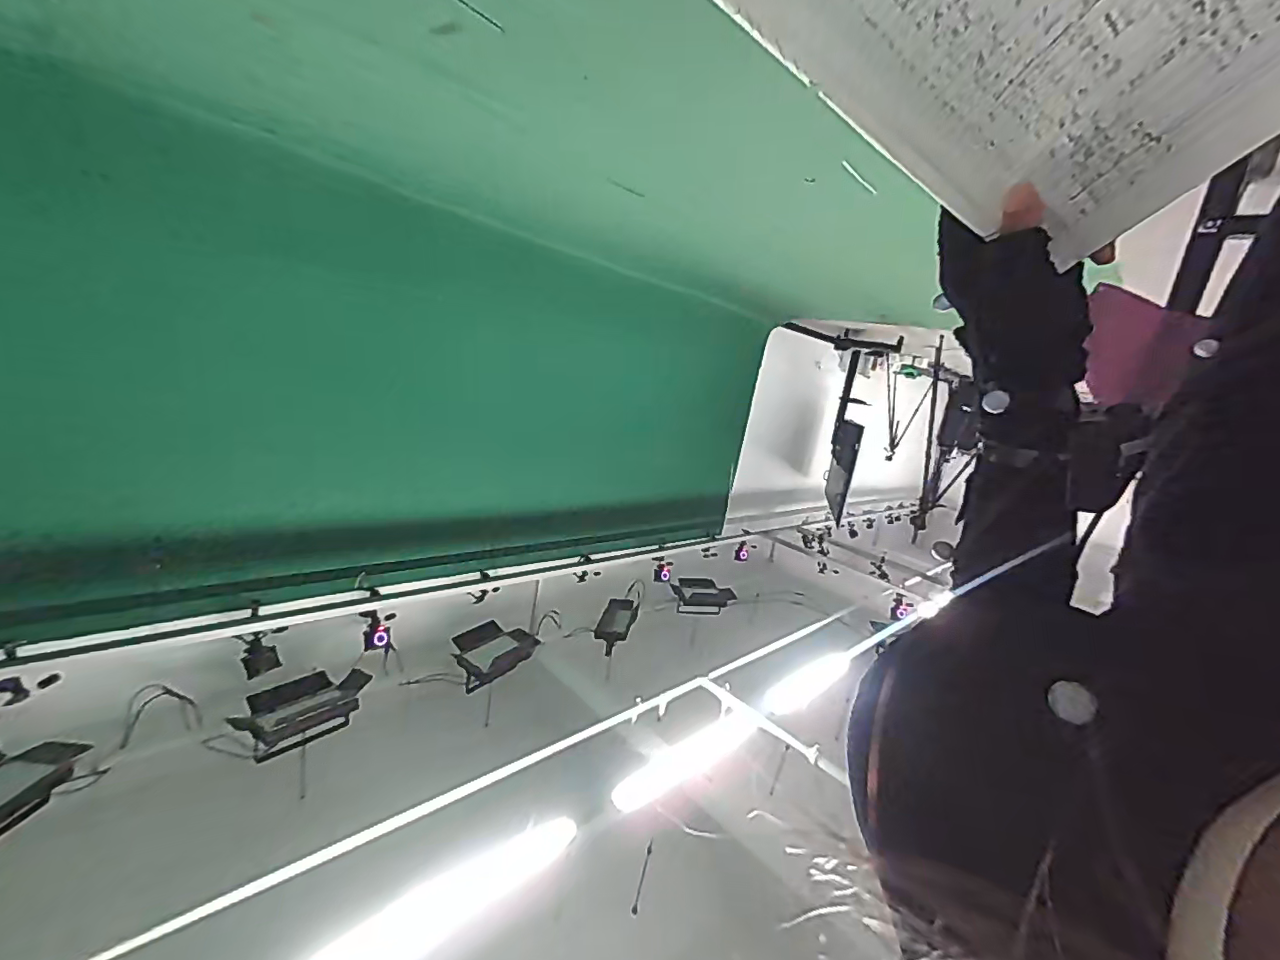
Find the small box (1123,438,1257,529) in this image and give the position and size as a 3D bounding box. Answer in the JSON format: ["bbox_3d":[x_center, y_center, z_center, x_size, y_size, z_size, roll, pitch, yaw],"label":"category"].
[{"bbox_3d":[1.282,-0.002,1.269,0.168,0.176,0.179,17,-166,32],"label":"small box"}]
